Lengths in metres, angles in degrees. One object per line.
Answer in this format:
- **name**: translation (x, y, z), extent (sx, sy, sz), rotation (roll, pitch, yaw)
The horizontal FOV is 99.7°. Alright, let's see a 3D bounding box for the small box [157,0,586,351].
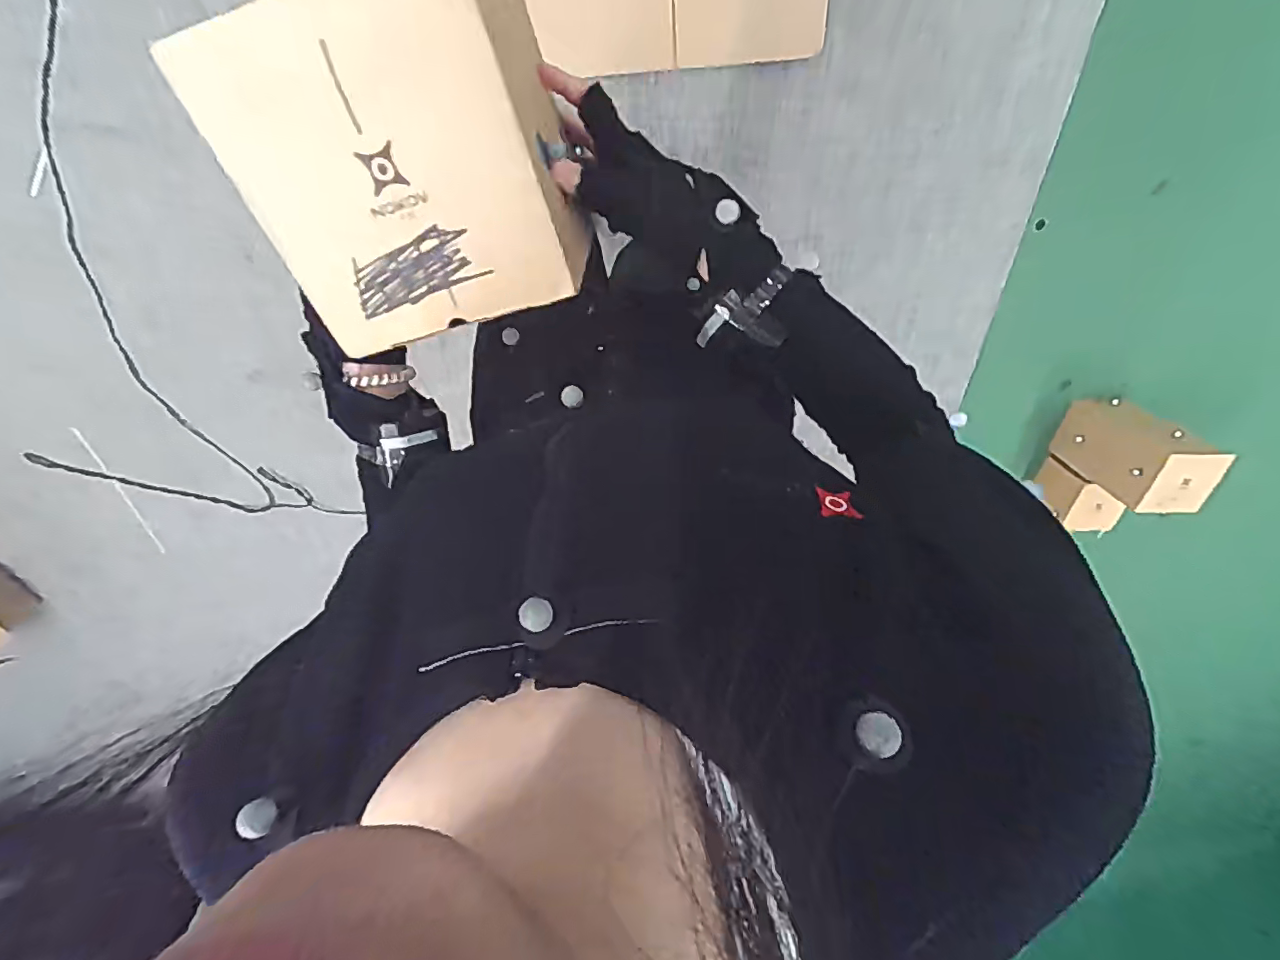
- **small box**: translation (-0.142, -0.218, 0.370), extent (0.168, 0.176, 0.179), rotation (-13, 127, 9)

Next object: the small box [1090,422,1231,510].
- **small box**: translation (1.331, -0.041, 1.402), extent (0.168, 0.176, 0.179), rotation (0, 124, -2)
